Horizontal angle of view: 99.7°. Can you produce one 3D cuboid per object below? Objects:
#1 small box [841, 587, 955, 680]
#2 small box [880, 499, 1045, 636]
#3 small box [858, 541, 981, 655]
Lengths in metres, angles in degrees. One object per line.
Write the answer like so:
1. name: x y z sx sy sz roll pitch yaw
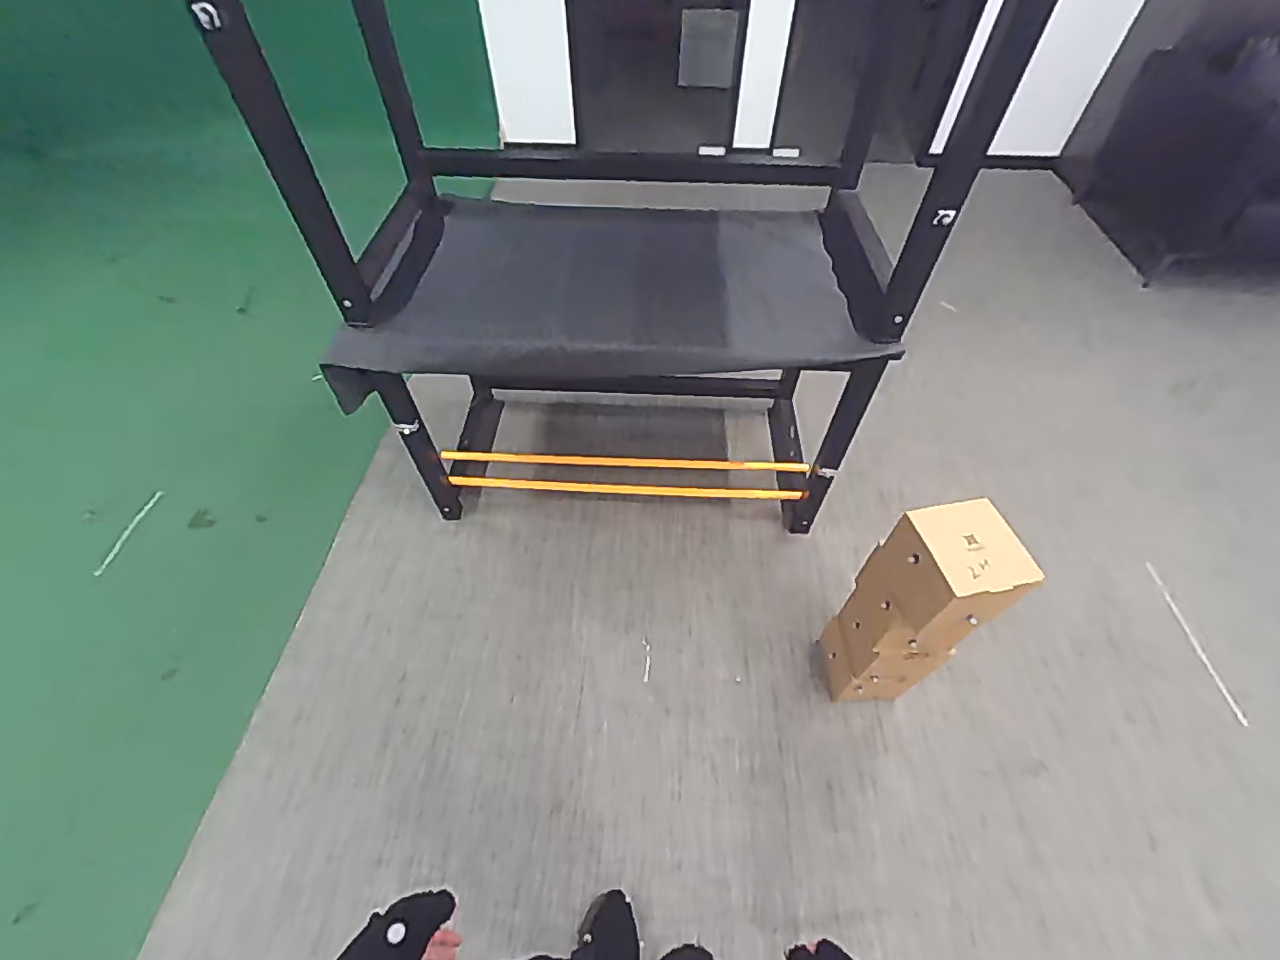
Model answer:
1. small box: 0.589 0.355 1.258 0.168 0.176 0.179 0 51 0
2. small box: 0.574 0.162 0.994 0.168 0.176 0.179 -9 53 -6
3. small box: 0.576 0.249 1.134 0.168 0.176 0.179 2 52 2
